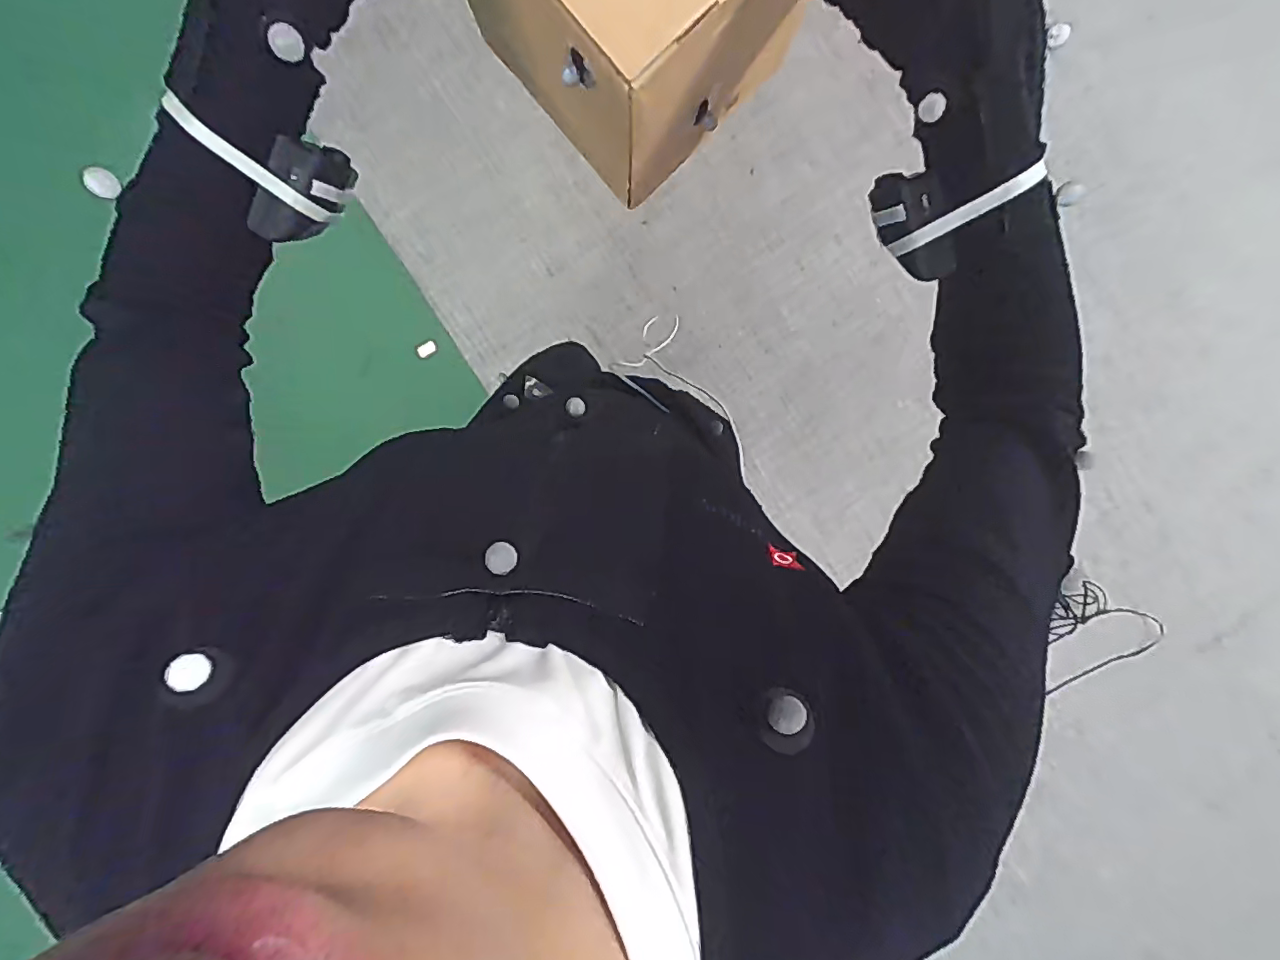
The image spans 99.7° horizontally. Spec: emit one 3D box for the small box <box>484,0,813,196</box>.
[{"bbox_3d":[0.001,-0.331,0.351,0.168,0.176,0.179,-41,97,4],"label":"small box"}]
